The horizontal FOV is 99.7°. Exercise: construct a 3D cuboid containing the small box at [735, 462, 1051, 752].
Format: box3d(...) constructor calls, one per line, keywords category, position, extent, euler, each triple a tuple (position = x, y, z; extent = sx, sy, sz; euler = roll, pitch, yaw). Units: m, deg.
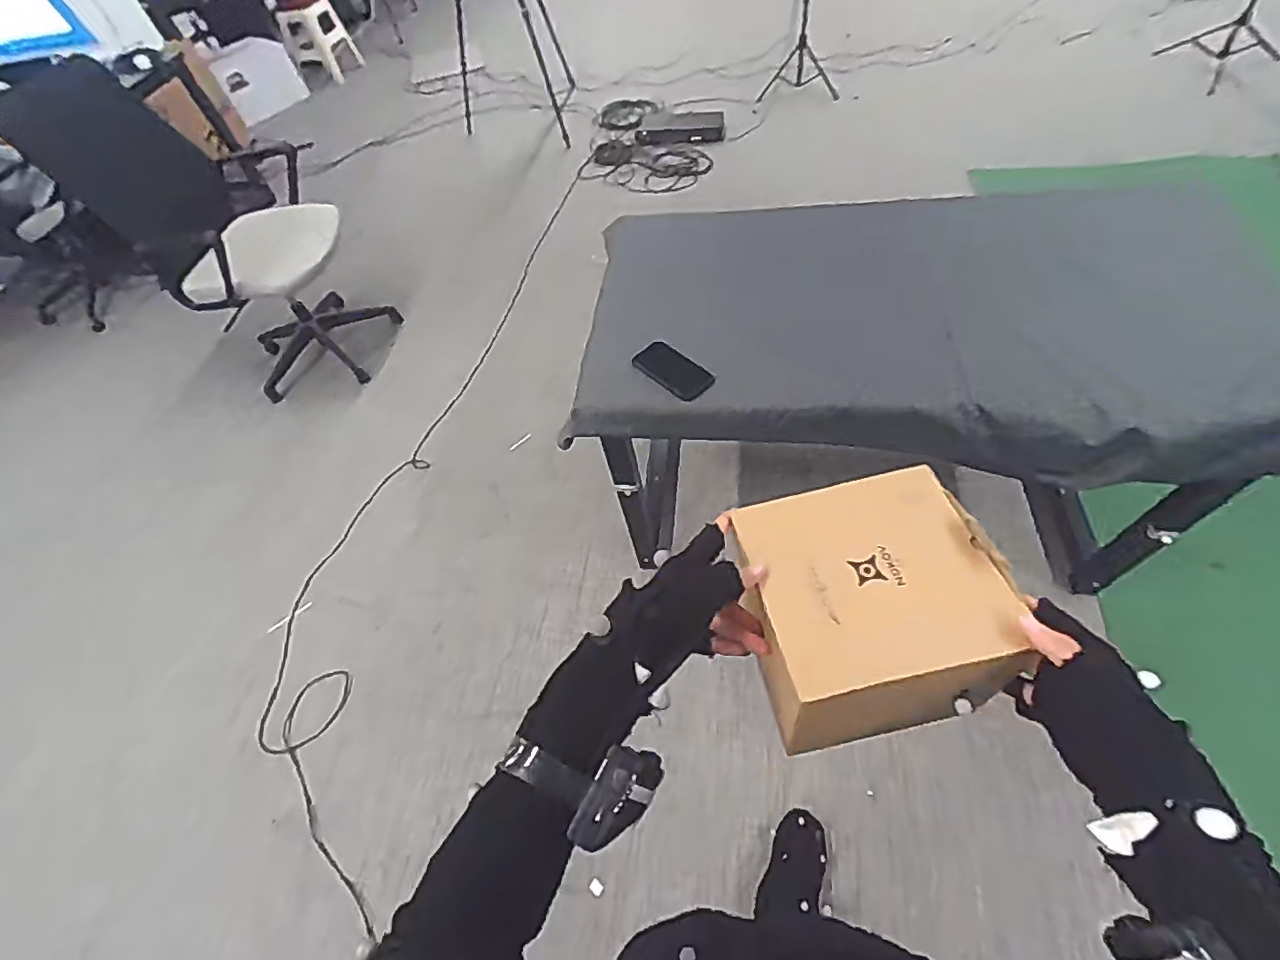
box3d(category="small box", position=(0.191, 0.115, 0.471), extent=(0.179, 0.176, 0.168), euler=(-15, 49, 1))
